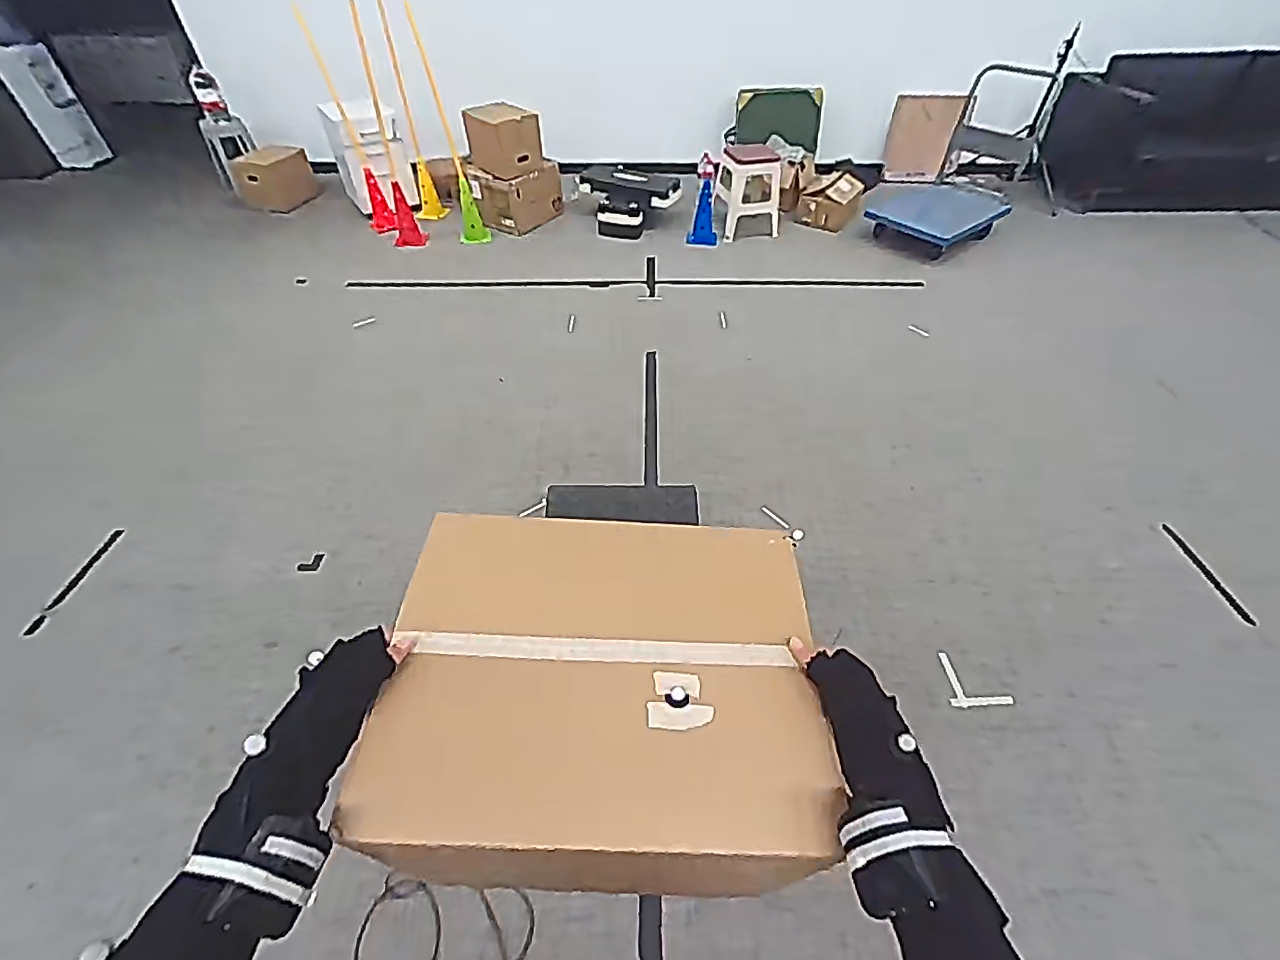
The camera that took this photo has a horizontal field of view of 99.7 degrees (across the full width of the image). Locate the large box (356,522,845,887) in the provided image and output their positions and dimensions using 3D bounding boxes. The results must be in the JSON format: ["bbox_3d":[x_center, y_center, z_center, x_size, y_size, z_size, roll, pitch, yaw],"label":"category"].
[{"bbox_3d":[-0.037,0.270,0.640,0.408,0.320,0.320,3,48,-2],"label":"large box"}]
